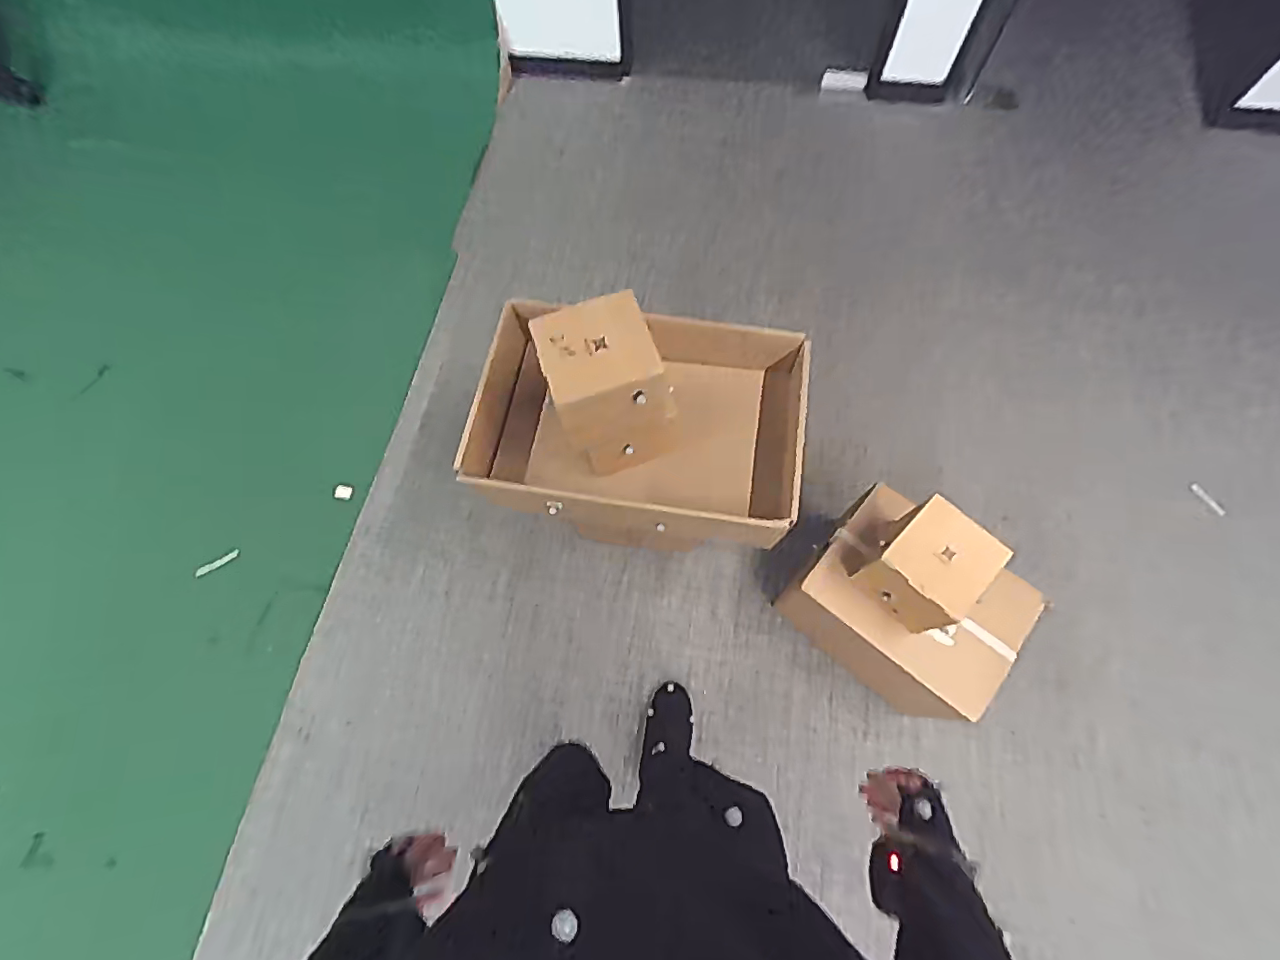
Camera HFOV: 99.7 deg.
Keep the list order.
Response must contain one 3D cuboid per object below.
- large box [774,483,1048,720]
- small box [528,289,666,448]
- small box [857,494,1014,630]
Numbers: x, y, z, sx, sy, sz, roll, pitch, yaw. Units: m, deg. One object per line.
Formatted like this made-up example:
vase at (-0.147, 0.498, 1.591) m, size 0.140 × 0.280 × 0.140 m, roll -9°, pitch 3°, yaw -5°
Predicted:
large box at (0.582, 0.280, 1.240) m, size 0.408 × 0.320 × 0.320 m, roll 39°, pitch 76°, yaw 14°
small box at (-0.065, -0.176, 0.893) m, size 0.179 × 0.176 × 0.168 m, roll -19°, pitch 69°, yaw -3°
small box at (0.546, 0.161, 1.026) m, size 0.168 × 0.176 × 0.179 m, roll 43°, pitch 76°, yaw 16°
